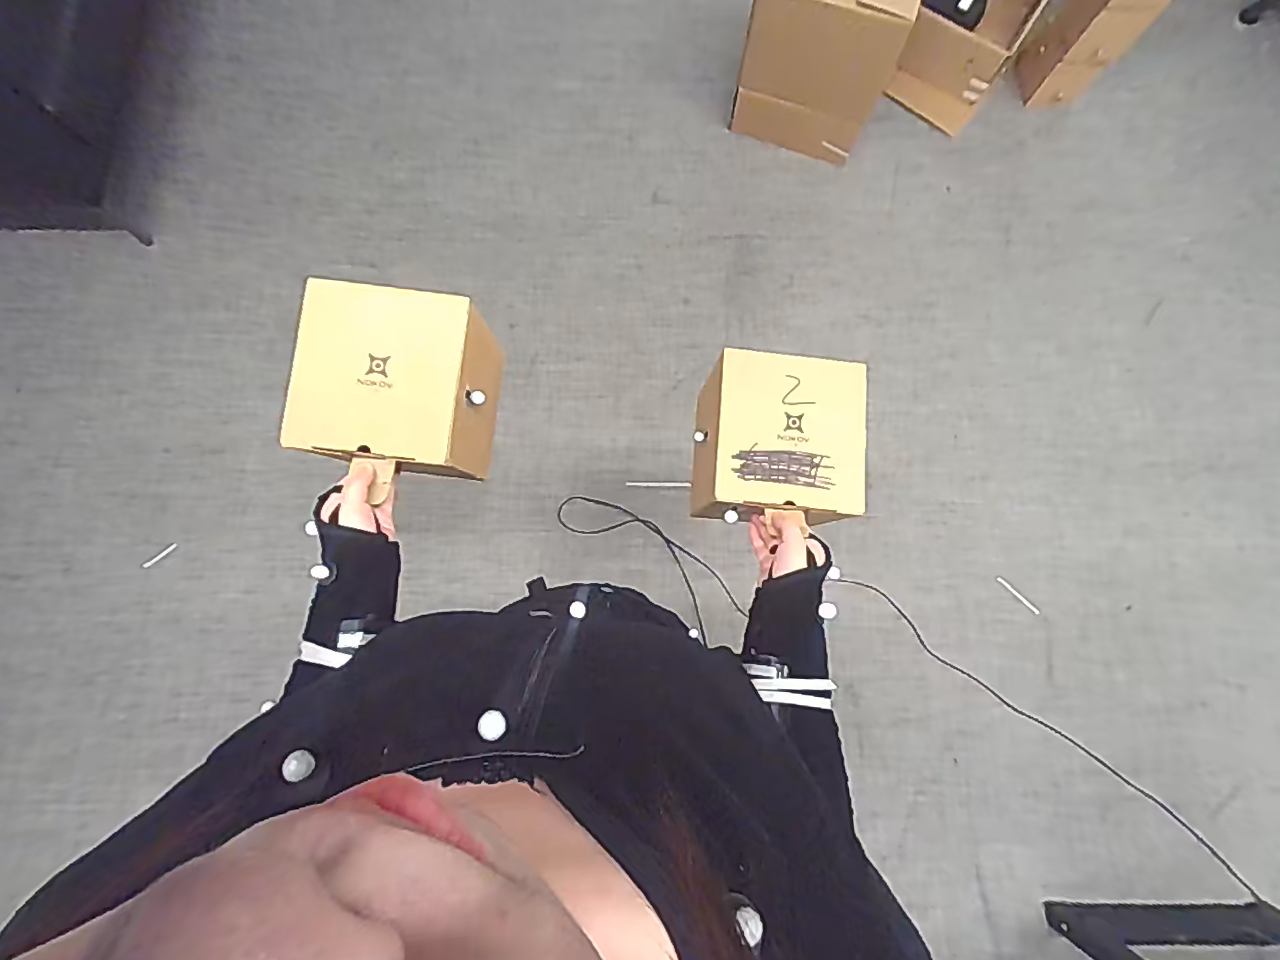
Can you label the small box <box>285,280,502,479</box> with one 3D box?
[{"bbox_3d":[-0.263,-0.102,0.621,0.168,0.176,0.179,7,86,-2],"label":"small box"}]
